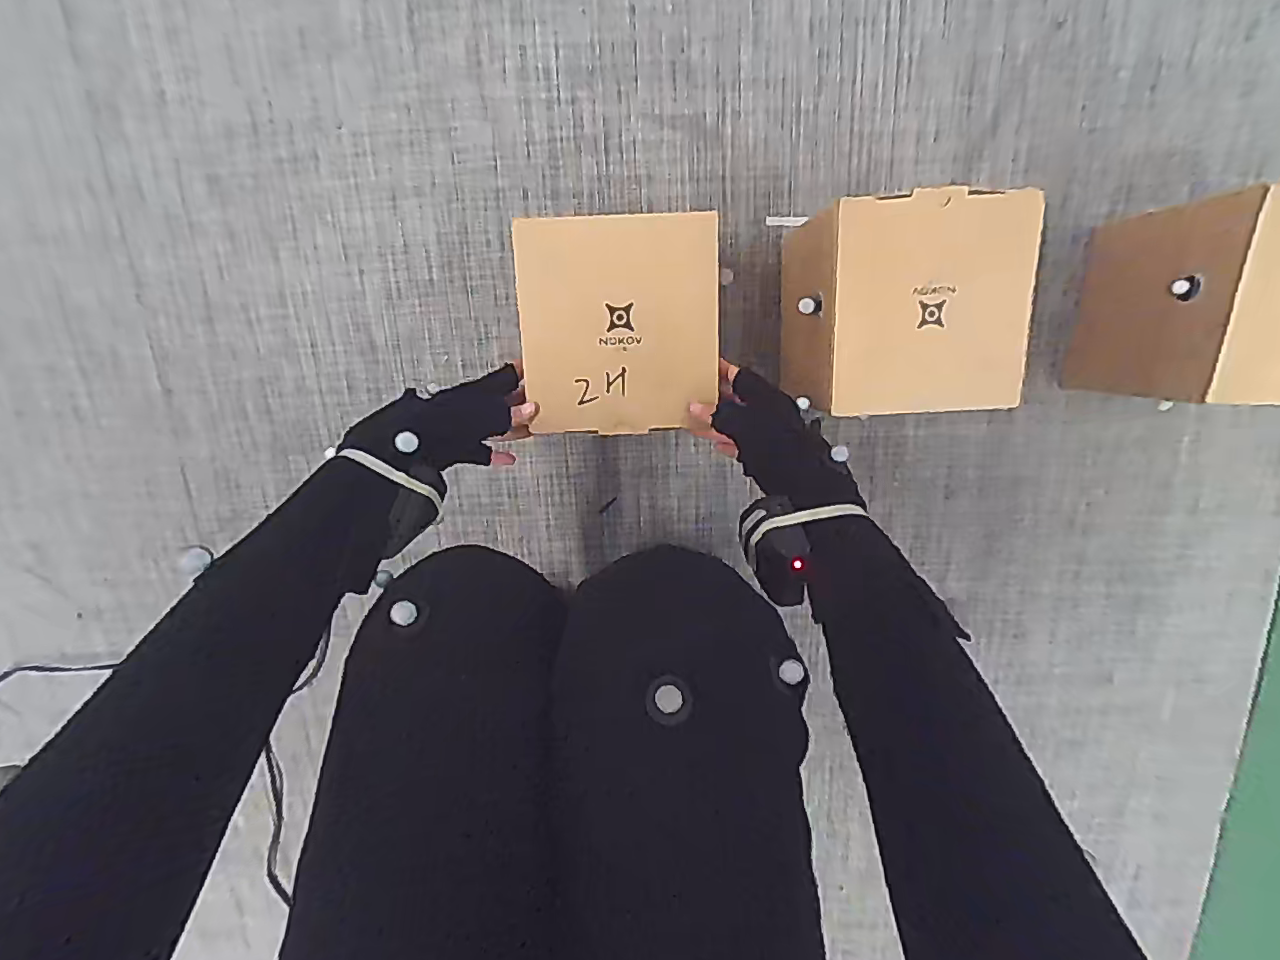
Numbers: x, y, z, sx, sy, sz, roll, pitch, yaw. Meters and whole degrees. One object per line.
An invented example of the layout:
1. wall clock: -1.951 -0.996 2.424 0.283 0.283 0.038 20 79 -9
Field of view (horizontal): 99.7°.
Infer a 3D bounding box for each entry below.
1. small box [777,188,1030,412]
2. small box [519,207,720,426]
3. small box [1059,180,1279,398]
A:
1. small box: 0.238 -0.167 0.534 0.168 0.176 0.179 -4 102 0
2. small box: -0.018 -0.150 0.530 0.168 0.176 0.179 -2 103 -1
3. small box: 0.564 -0.175 0.534 0.168 0.176 0.179 1 104 0
